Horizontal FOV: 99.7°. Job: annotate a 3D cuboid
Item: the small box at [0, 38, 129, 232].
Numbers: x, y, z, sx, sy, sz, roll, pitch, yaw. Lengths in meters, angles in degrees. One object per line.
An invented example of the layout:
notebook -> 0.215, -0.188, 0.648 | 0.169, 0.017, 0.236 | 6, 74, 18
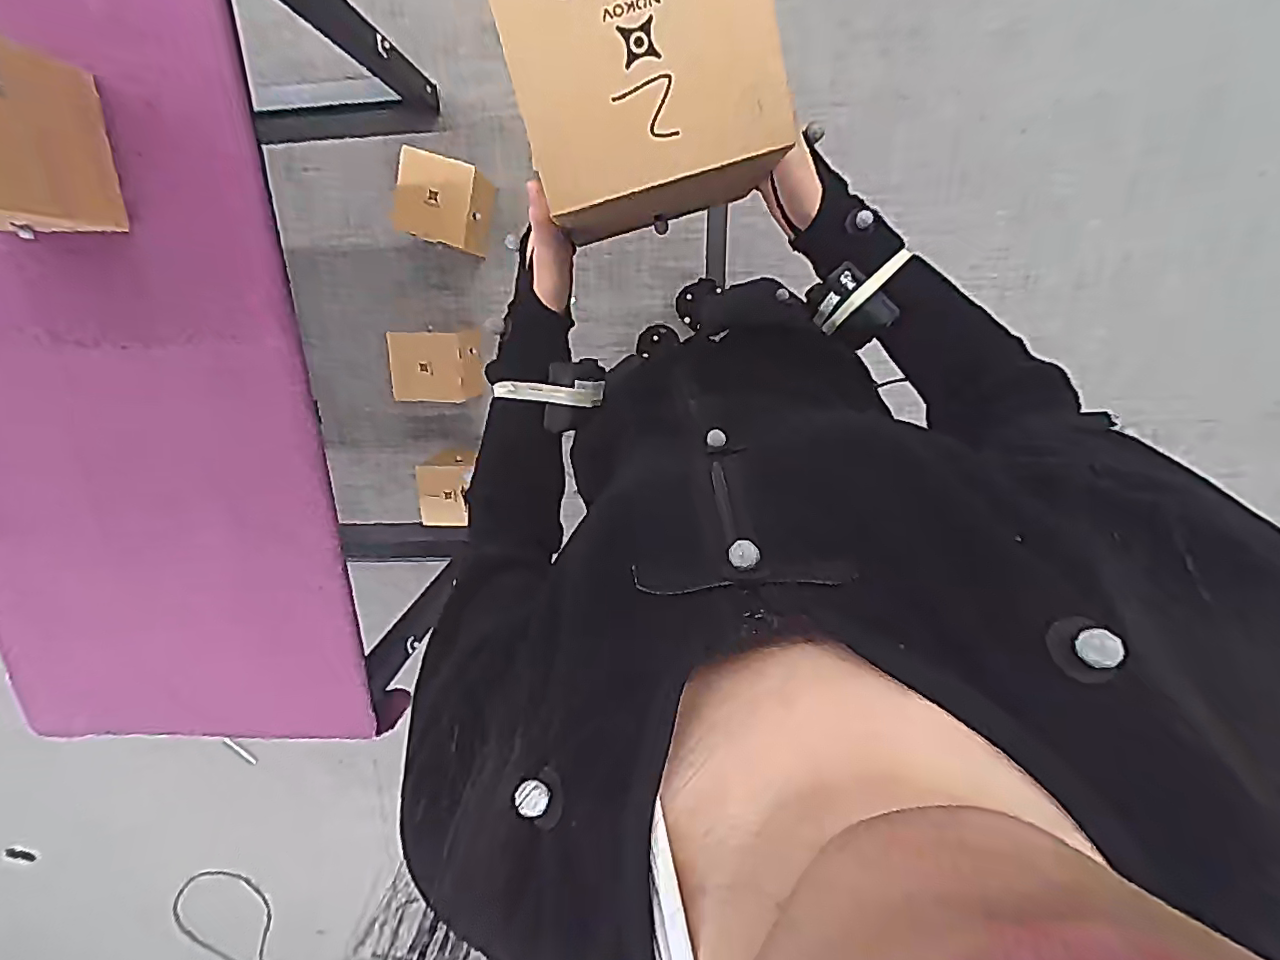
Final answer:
small box -> -0.734, -0.381, 0.595 | 0.168, 0.176, 0.179 | 1, 108, 3

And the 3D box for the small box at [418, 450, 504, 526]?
small box -> -0.476, 0.016, 1.468 | 0.179, 0.176, 0.168 | 1, 107, 4

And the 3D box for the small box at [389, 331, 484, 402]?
small box -> -0.507, -0.293, 1.377 | 0.179, 0.176, 0.168 | 1, 106, 4

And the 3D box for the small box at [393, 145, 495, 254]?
small box -> -0.450, -0.645, 1.265 | 0.168, 0.176, 0.179 | 15, 109, -3
